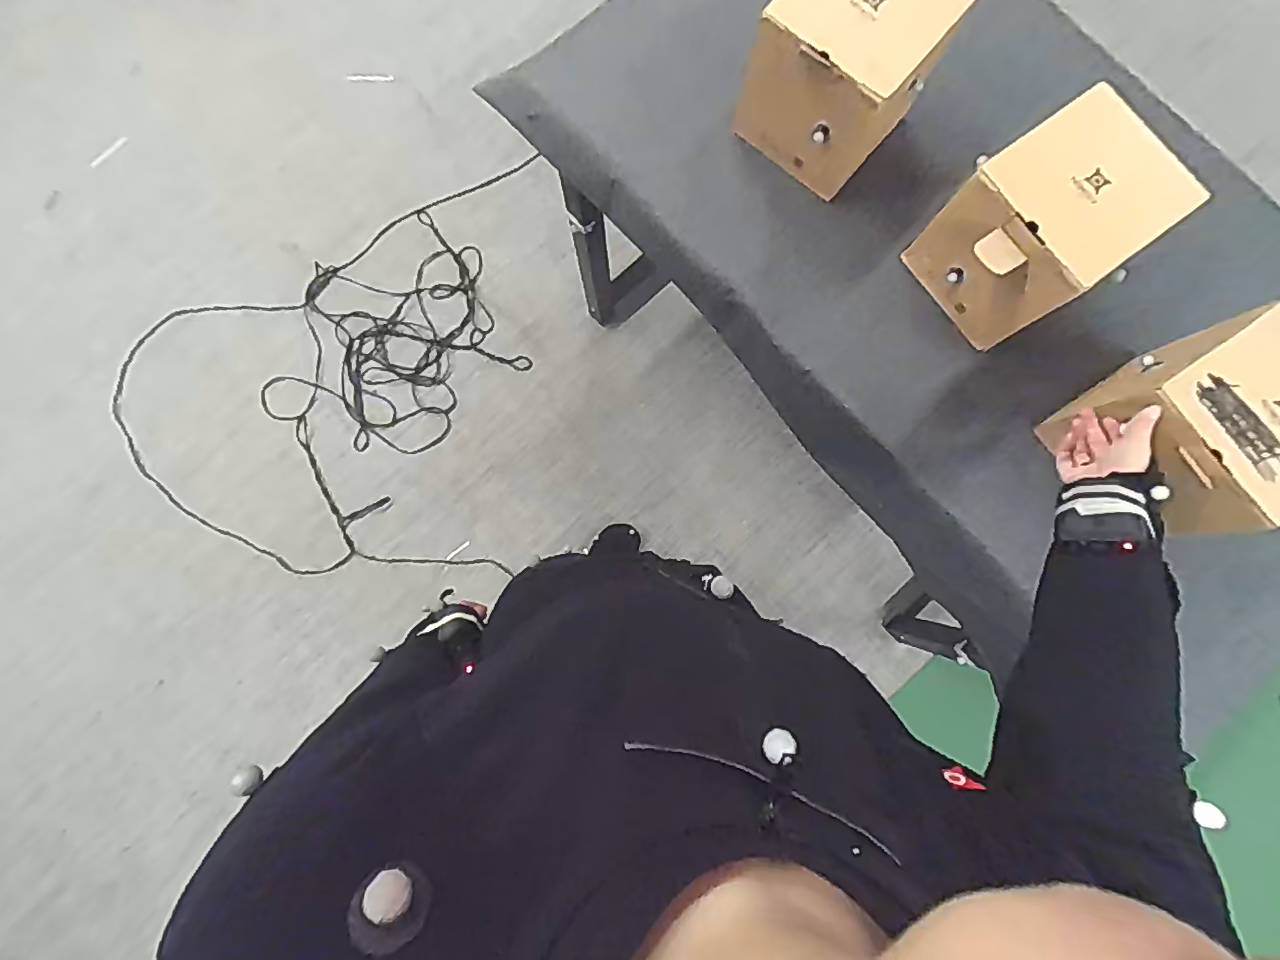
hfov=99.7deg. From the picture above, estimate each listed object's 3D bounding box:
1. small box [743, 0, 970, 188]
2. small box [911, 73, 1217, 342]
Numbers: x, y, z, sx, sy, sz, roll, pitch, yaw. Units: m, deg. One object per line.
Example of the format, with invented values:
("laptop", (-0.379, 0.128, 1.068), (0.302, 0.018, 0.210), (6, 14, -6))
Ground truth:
("small box", (0.241, -0.497, 0.640), (0.168, 0.176, 0.179), (40, 83, 3))
("small box", (0.457, -0.291, 0.614), (0.179, 0.176, 0.168), (-36, 85, -5))
